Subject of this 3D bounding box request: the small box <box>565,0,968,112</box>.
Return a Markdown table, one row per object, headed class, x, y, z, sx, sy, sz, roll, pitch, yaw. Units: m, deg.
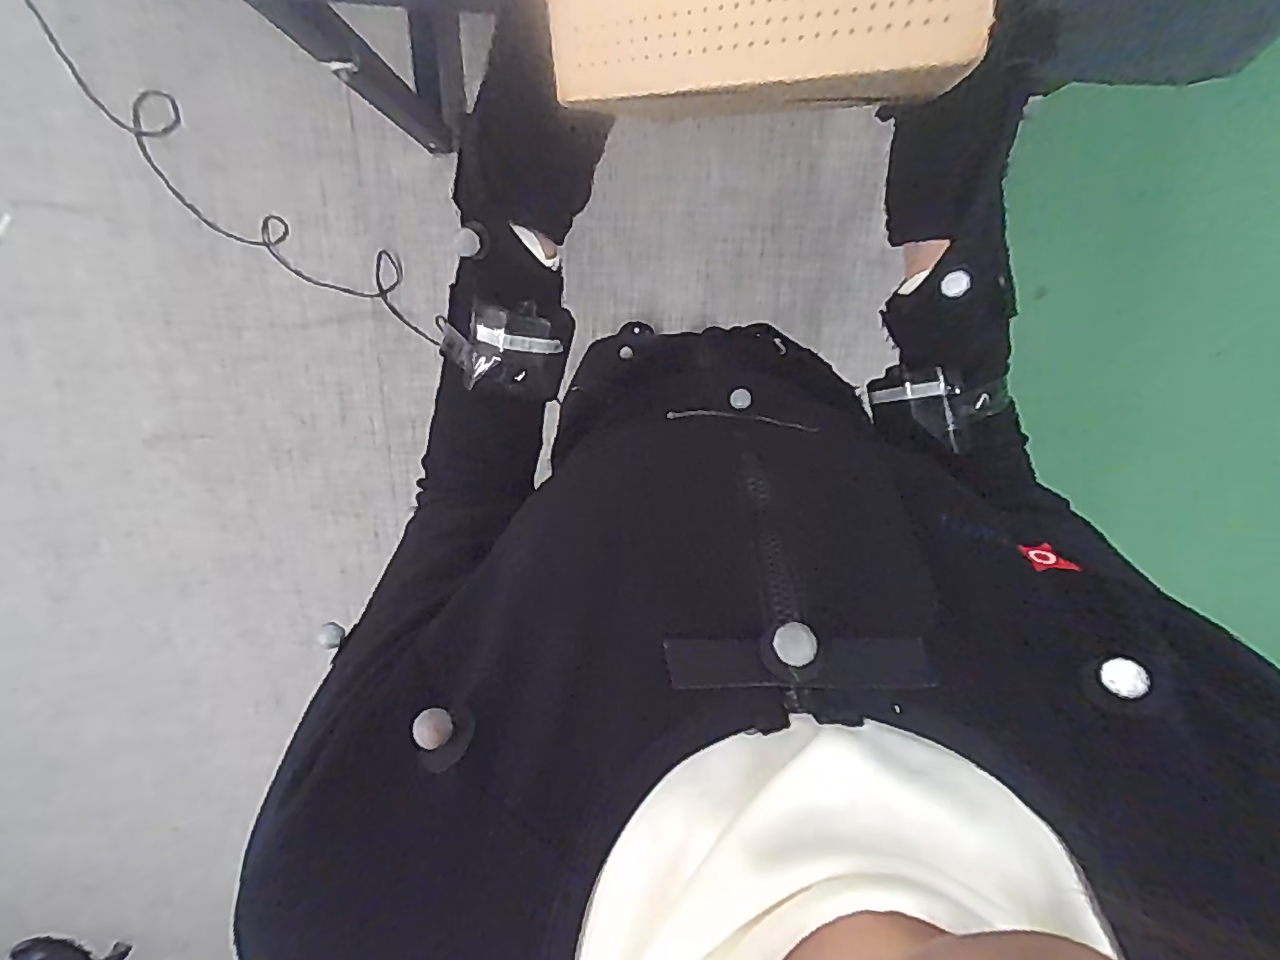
| class | x | y | z | sx | sy | sz | roll | pitch | yaw |
| --- | --- | --- | --- | --- | --- | --- | --- | --- | --- |
| small box | 0.067 | -0.285 | 0.259 | 0.179 | 0.168 | 0.176 | 8 | 121 | 19 |
